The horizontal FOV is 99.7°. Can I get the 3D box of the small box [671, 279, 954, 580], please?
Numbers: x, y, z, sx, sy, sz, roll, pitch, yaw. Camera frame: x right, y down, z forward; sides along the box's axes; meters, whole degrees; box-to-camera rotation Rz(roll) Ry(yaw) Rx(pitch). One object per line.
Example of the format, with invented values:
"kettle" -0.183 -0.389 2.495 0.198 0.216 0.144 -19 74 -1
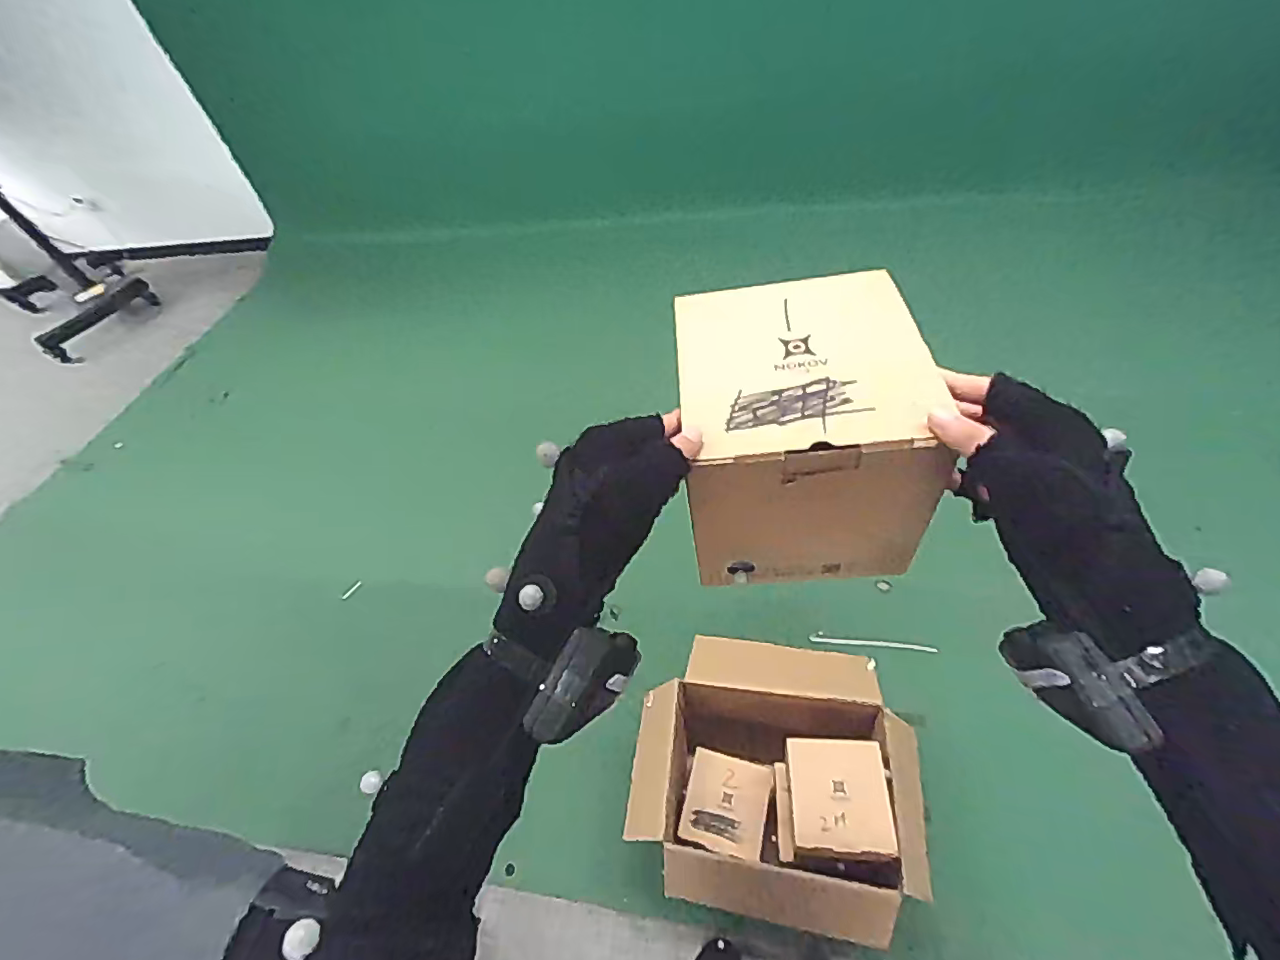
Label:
"small box" 0.117 -0.030 0.434 0.168 0.176 0.179 -5 51 7
